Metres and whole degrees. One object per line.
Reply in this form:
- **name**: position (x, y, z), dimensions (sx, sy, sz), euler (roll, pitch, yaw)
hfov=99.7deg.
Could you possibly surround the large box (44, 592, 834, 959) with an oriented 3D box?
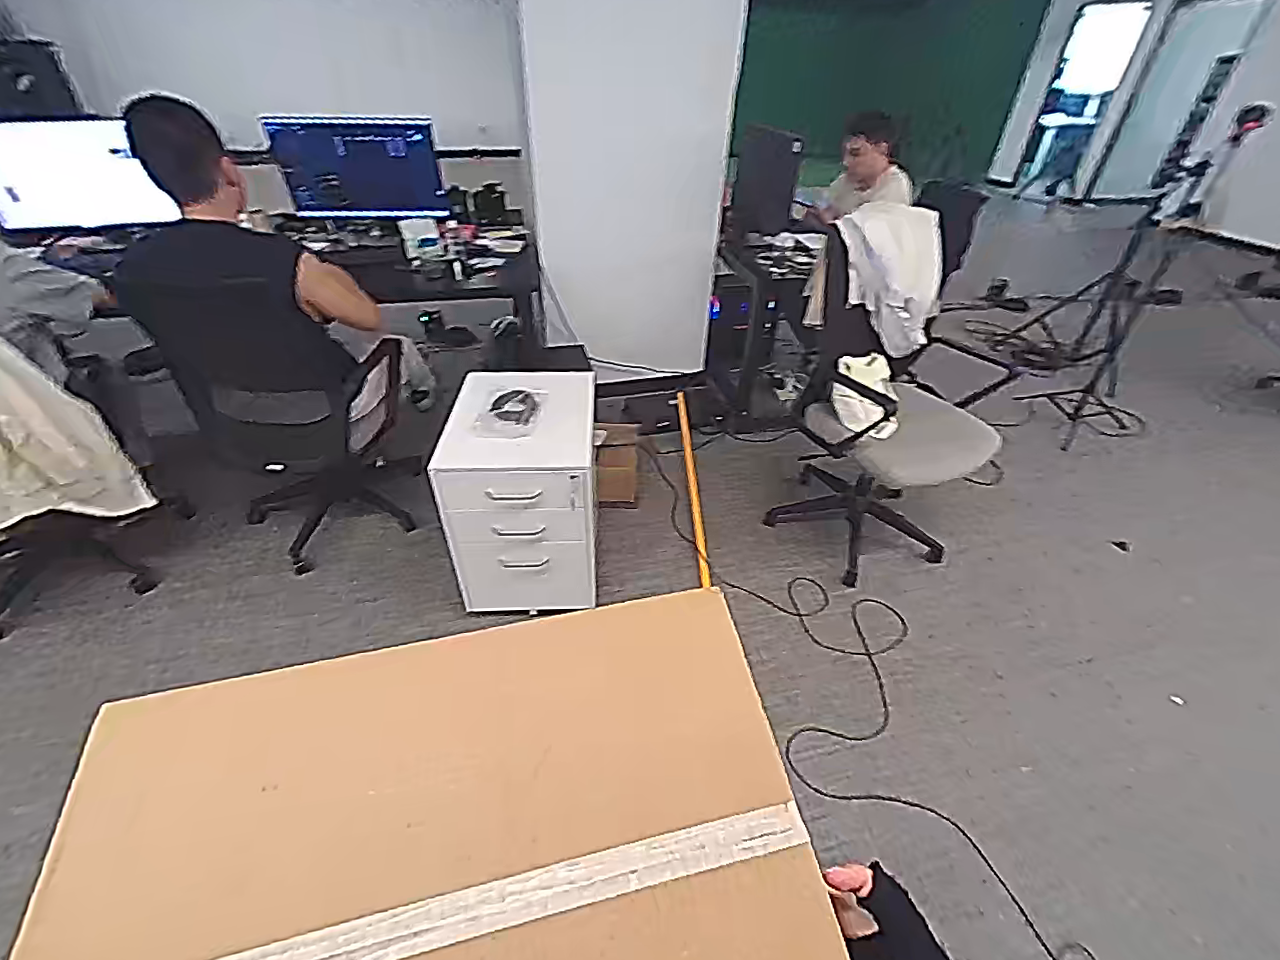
- **large box**: position (-0.112, 0.327, 0.408), dimensions (0.408, 0.320, 0.320), euler (-9, 55, -10)
